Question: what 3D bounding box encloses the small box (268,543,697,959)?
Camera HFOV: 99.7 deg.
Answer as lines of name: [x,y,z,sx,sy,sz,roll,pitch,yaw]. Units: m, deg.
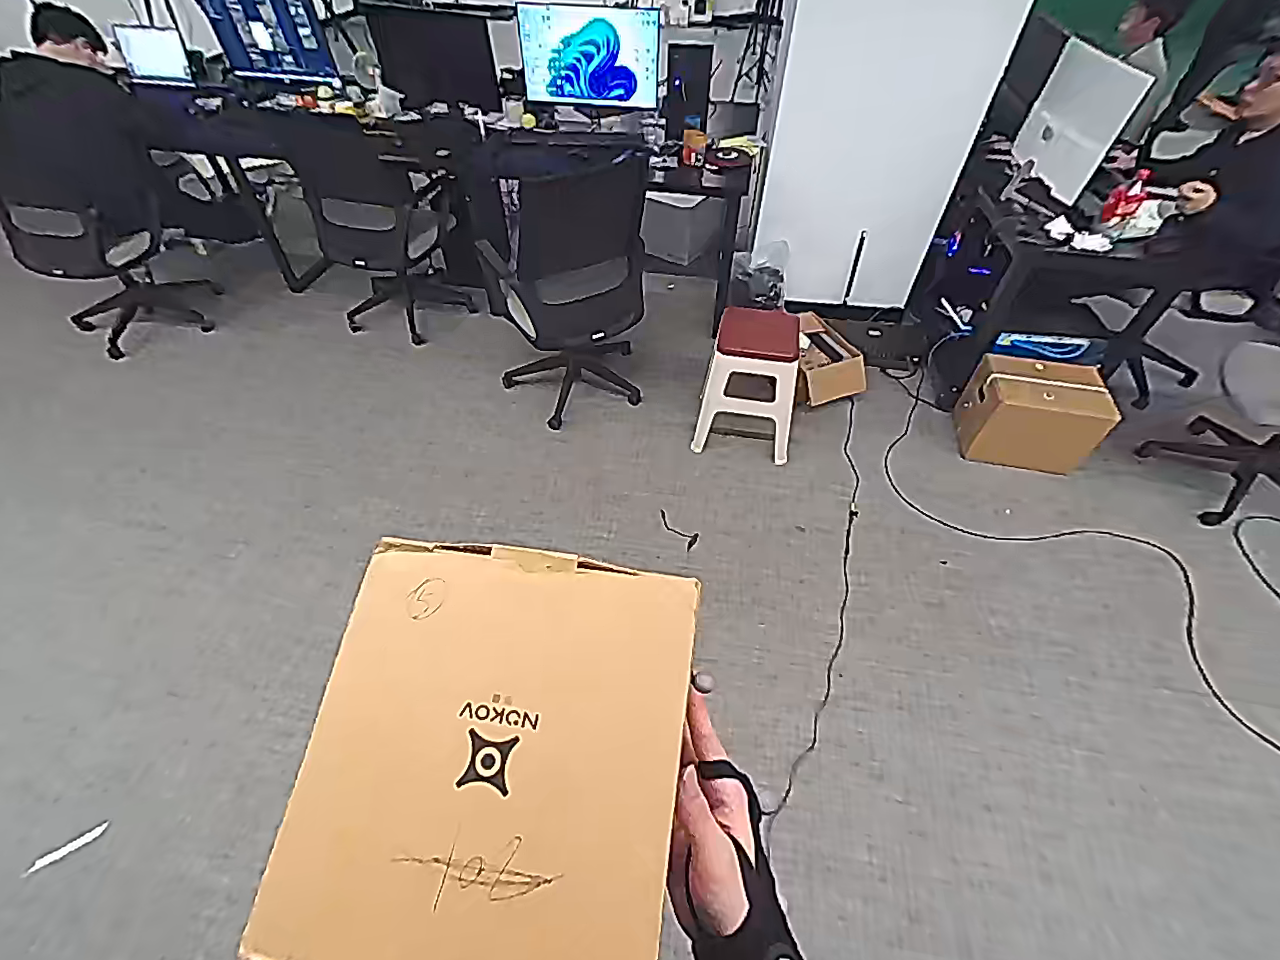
small box: [-0.061,0.153,0.323,0.168,0.176,0.179,7,69,6]
